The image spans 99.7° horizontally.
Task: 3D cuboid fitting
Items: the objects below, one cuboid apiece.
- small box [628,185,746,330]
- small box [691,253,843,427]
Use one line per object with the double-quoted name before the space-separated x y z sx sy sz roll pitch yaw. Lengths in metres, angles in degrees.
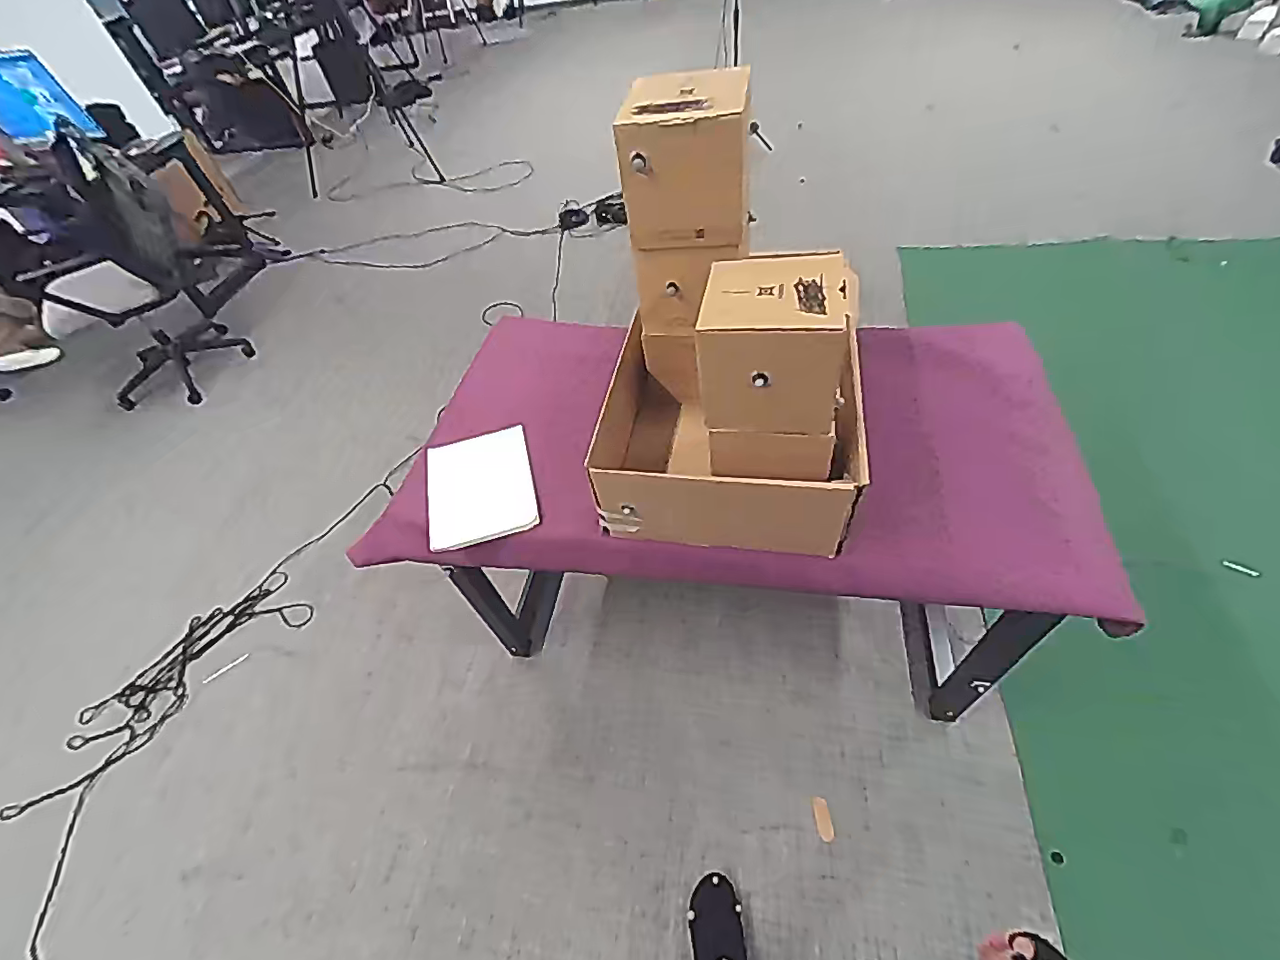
"small box" 0.089 -0.367 0.913 0.168 0.176 0.179 5 53 14
"small box" 0.176 -0.187 0.739 0.179 0.176 0.168 3 50 16
